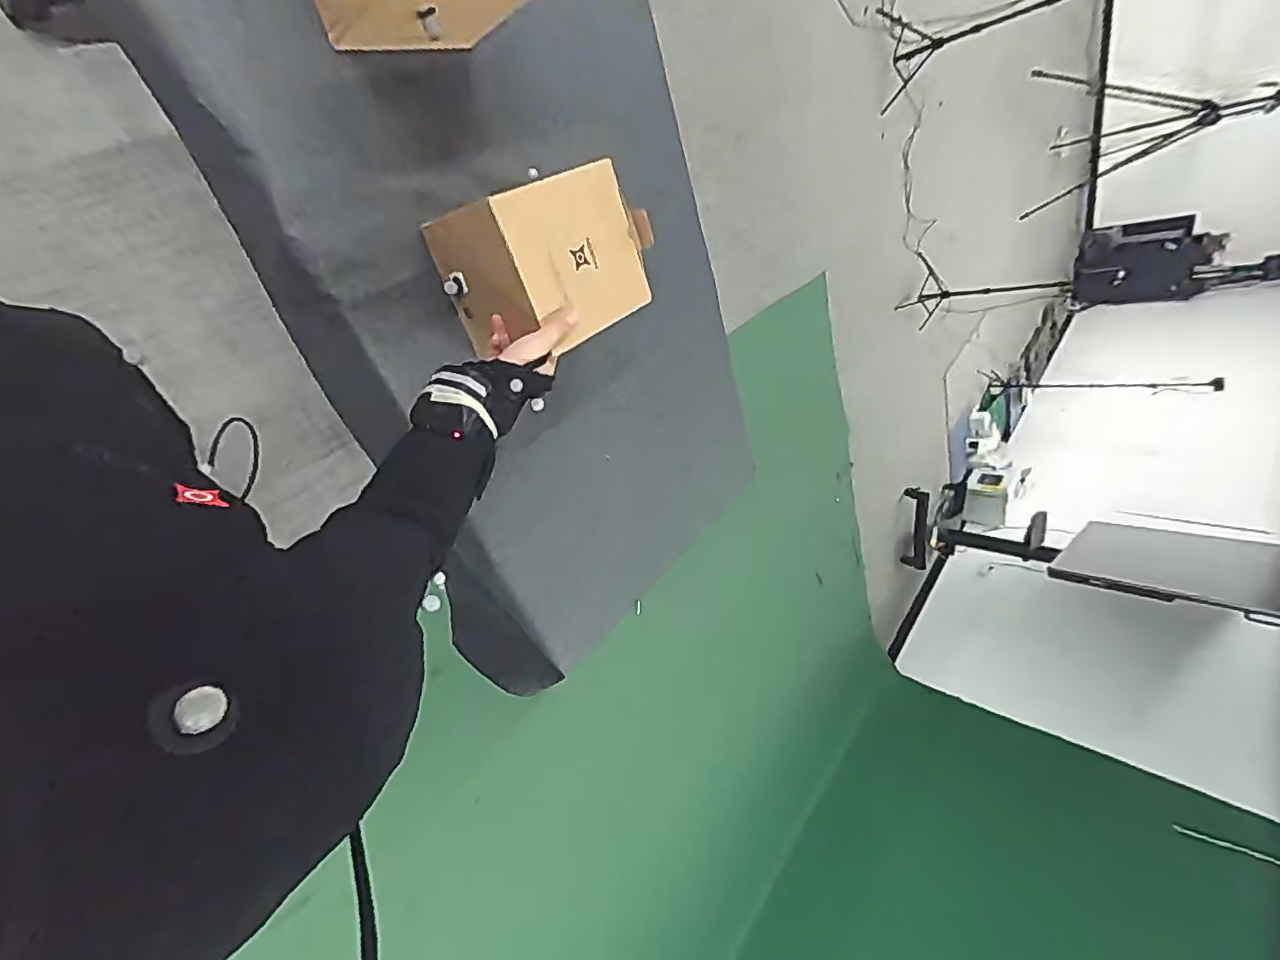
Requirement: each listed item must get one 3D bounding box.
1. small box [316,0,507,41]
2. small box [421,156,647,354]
[{"bbox_3d":[-0.218,-0.535,0.496,0.168,0.176,0.179,-37,123,-36],"label":"small box"},{"bbox_3d":[-0.125,-0.265,0.655,0.179,0.176,0.168,-41,125,-32],"label":"small box"}]
